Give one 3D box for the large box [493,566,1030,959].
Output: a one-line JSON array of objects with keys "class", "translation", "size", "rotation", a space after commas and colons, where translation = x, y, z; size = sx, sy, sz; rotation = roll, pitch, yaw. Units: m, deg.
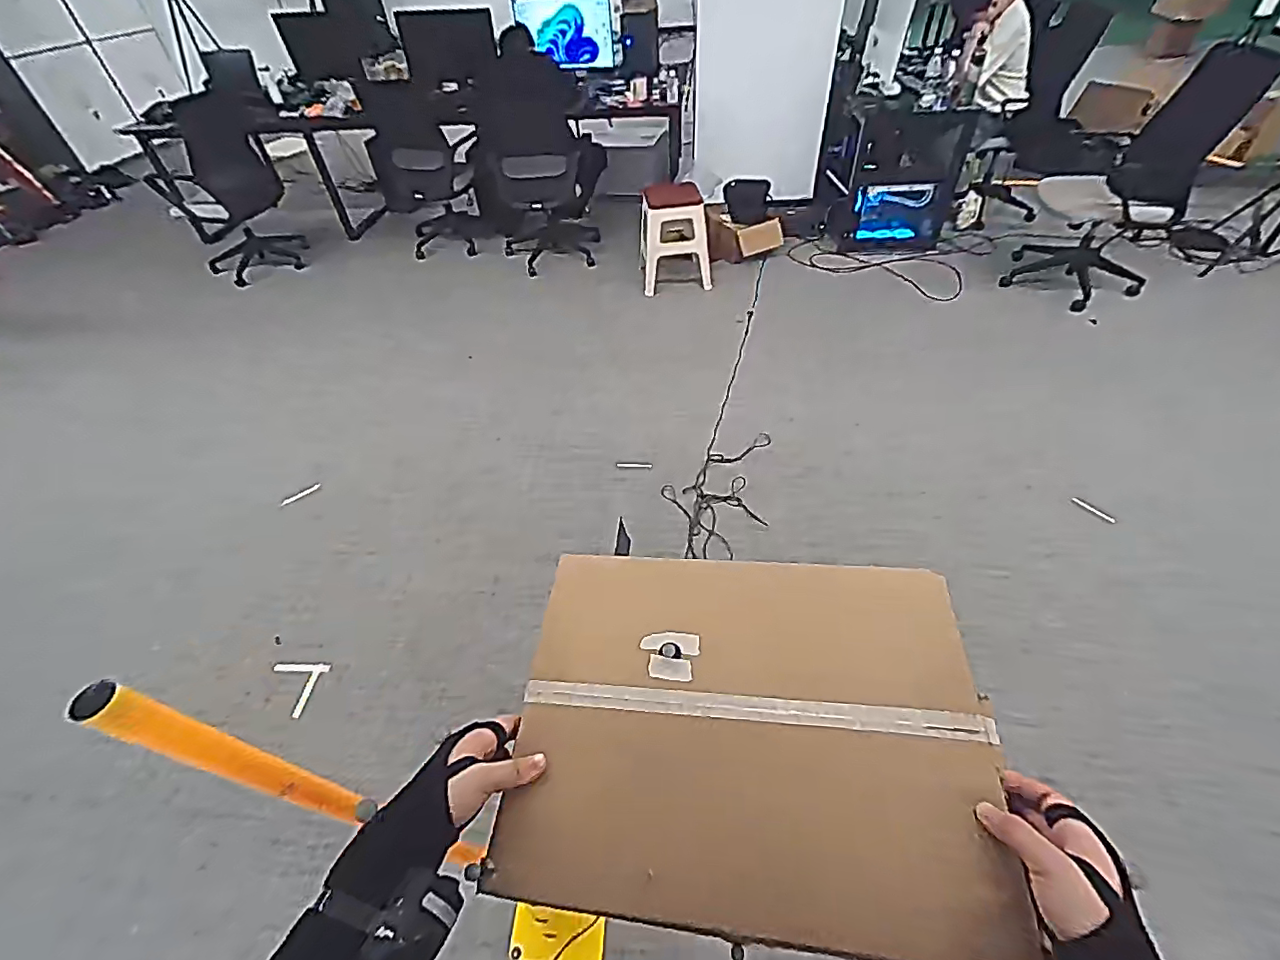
[{"class": "large box", "translation": [0.114, 0.309, 0.609], "size": [0.408, 0.320, 0.320], "rotation": [-1, 49, 11]}]
